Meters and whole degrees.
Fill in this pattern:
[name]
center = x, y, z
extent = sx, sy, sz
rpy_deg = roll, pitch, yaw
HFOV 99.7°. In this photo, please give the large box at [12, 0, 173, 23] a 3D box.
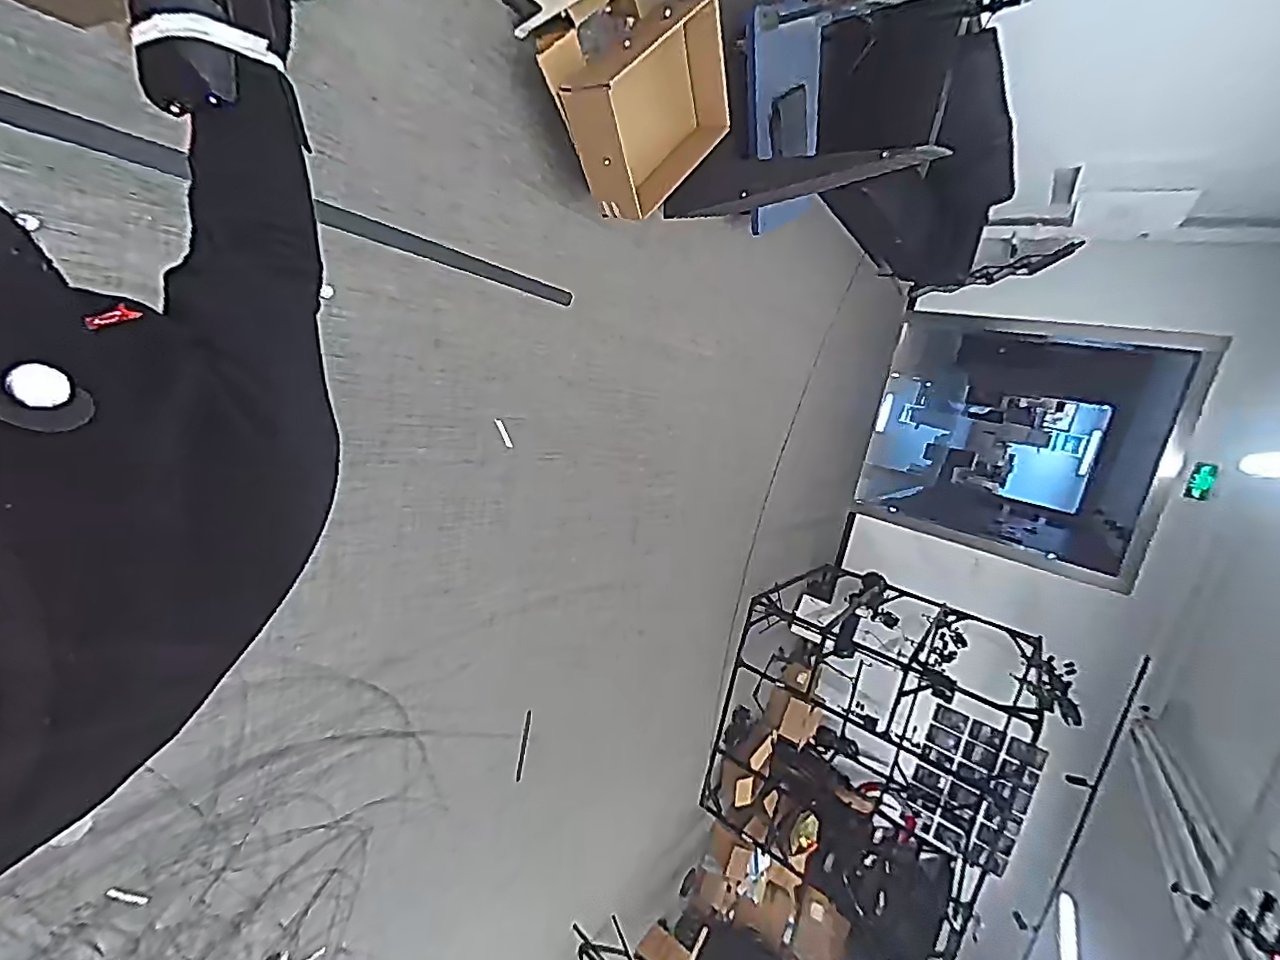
[large box]
center = -0.517, -0.510, 0.254
extent = 0.408, 0.320, 0.320
rpy_deg = -8, 120, -54
